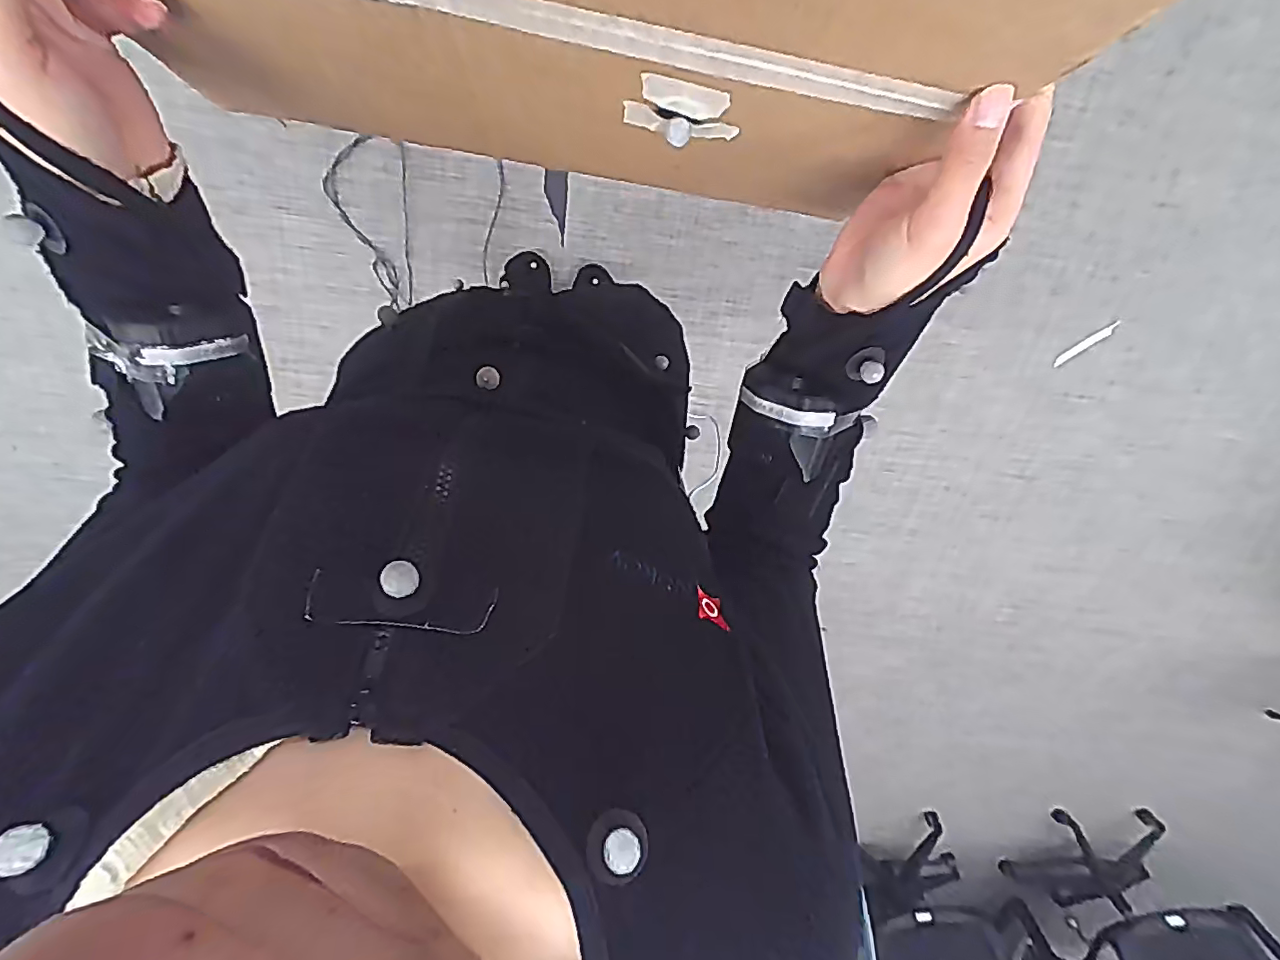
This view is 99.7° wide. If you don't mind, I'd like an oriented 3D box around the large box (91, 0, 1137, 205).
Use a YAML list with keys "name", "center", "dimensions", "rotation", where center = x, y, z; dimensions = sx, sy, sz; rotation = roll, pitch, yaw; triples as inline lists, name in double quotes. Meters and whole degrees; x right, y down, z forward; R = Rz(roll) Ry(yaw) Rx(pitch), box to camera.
- name: "large box"
  center: [-0.024, -0.336, 0.188]
  dimensions: [0.408, 0.320, 0.320]
  rotation: [5, 100, -7]
